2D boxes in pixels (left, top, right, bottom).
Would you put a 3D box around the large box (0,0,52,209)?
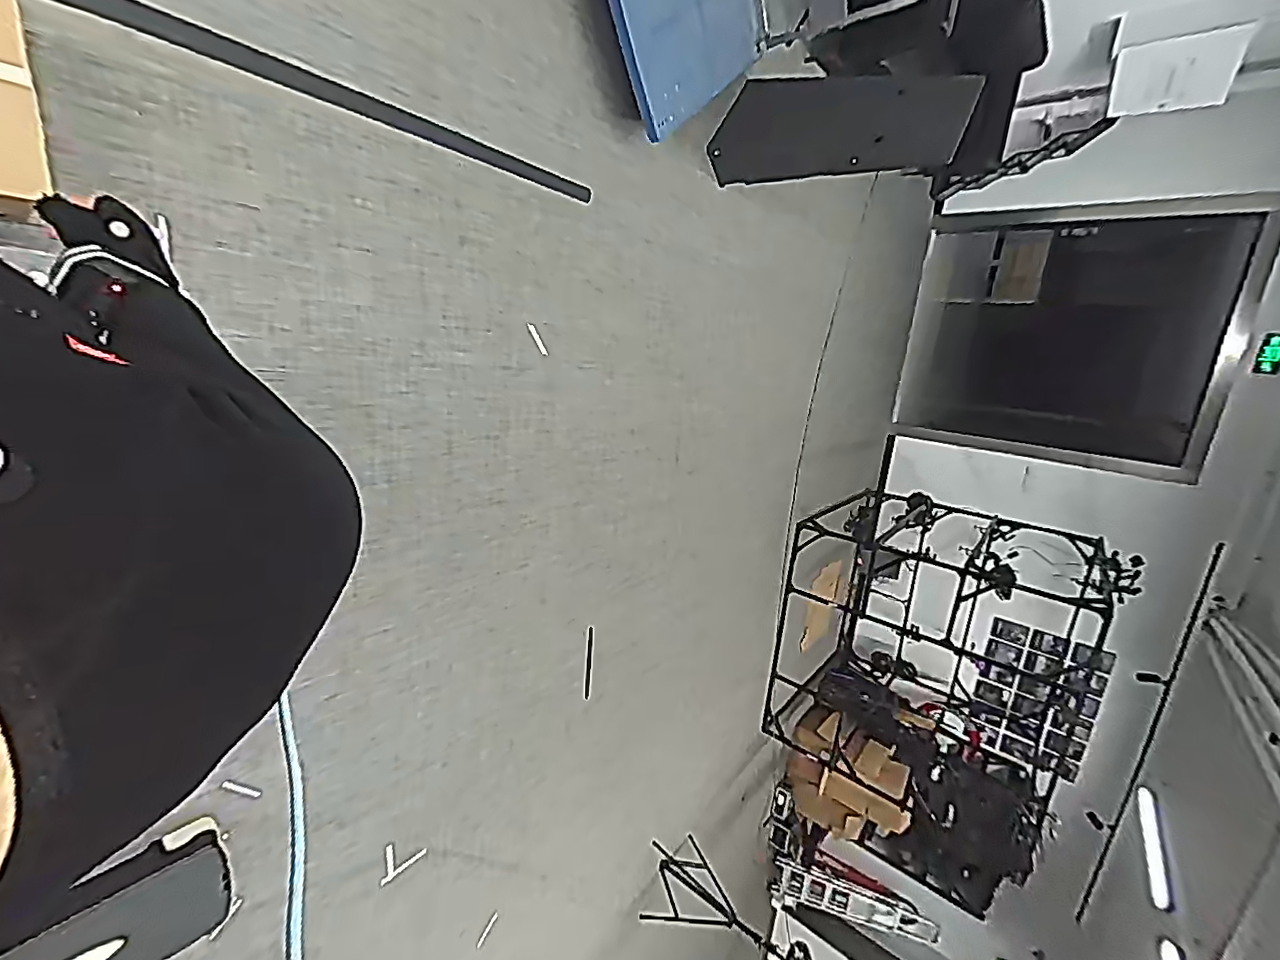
[{"bbox_3d":[-1.085,-0.558,0.678,0.408,0.320,0.320,-15,115,-52],"label":"large box"}]
